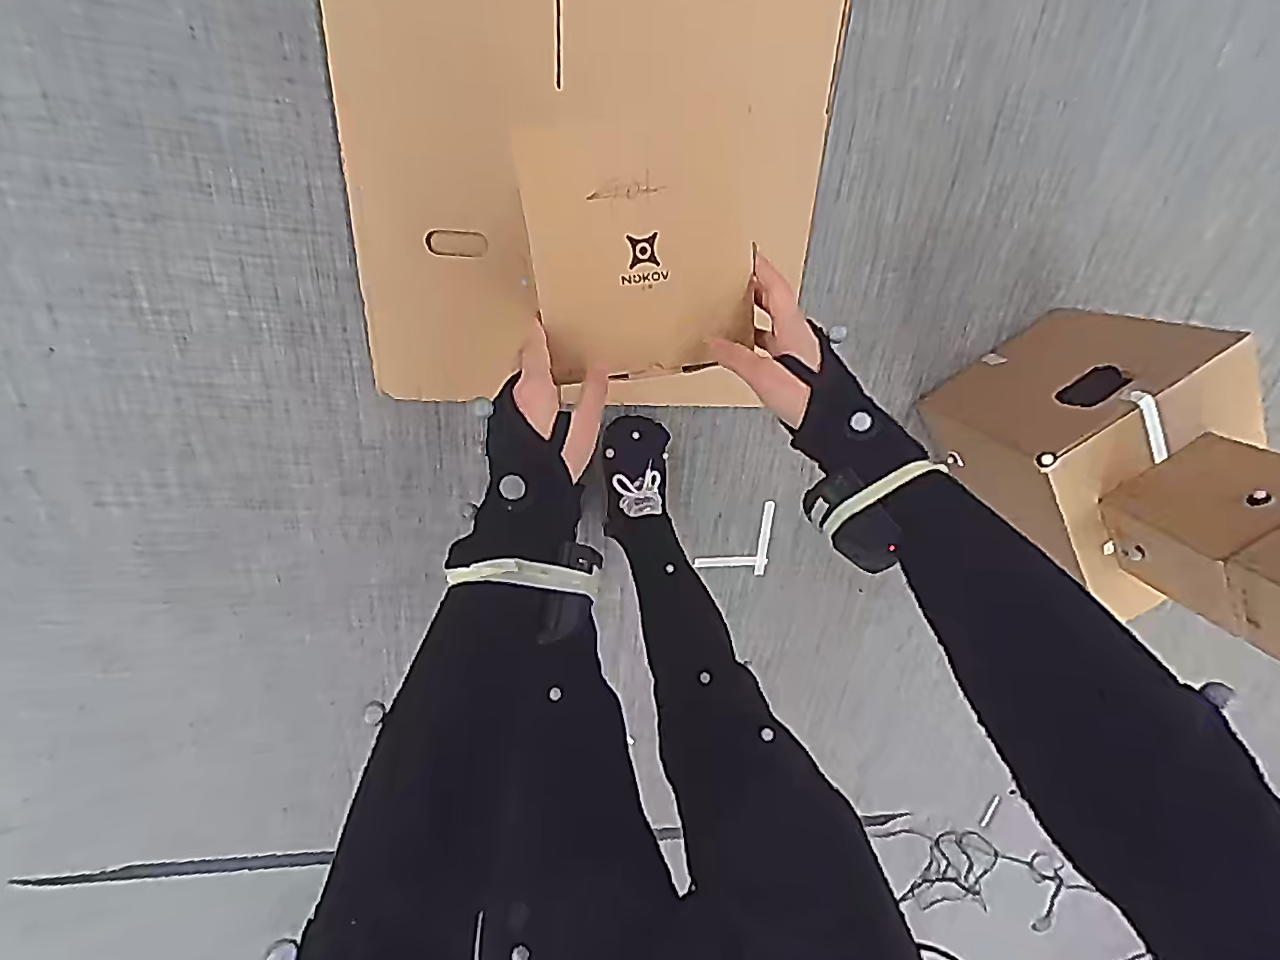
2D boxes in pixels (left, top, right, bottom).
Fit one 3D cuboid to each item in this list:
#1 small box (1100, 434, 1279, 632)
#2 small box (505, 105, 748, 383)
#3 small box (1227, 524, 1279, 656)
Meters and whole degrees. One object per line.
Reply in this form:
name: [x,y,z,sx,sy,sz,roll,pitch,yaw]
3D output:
small box: [0.799,0.064,0.744,0.179,0.176,0.168,-36,114,9]
small box: [-0.010,-0.198,0.470,0.168,0.176,0.179,-9,114,-4]
small box: [0.825,0.129,0.595,0.179,0.176,0.168,-36,114,8]
